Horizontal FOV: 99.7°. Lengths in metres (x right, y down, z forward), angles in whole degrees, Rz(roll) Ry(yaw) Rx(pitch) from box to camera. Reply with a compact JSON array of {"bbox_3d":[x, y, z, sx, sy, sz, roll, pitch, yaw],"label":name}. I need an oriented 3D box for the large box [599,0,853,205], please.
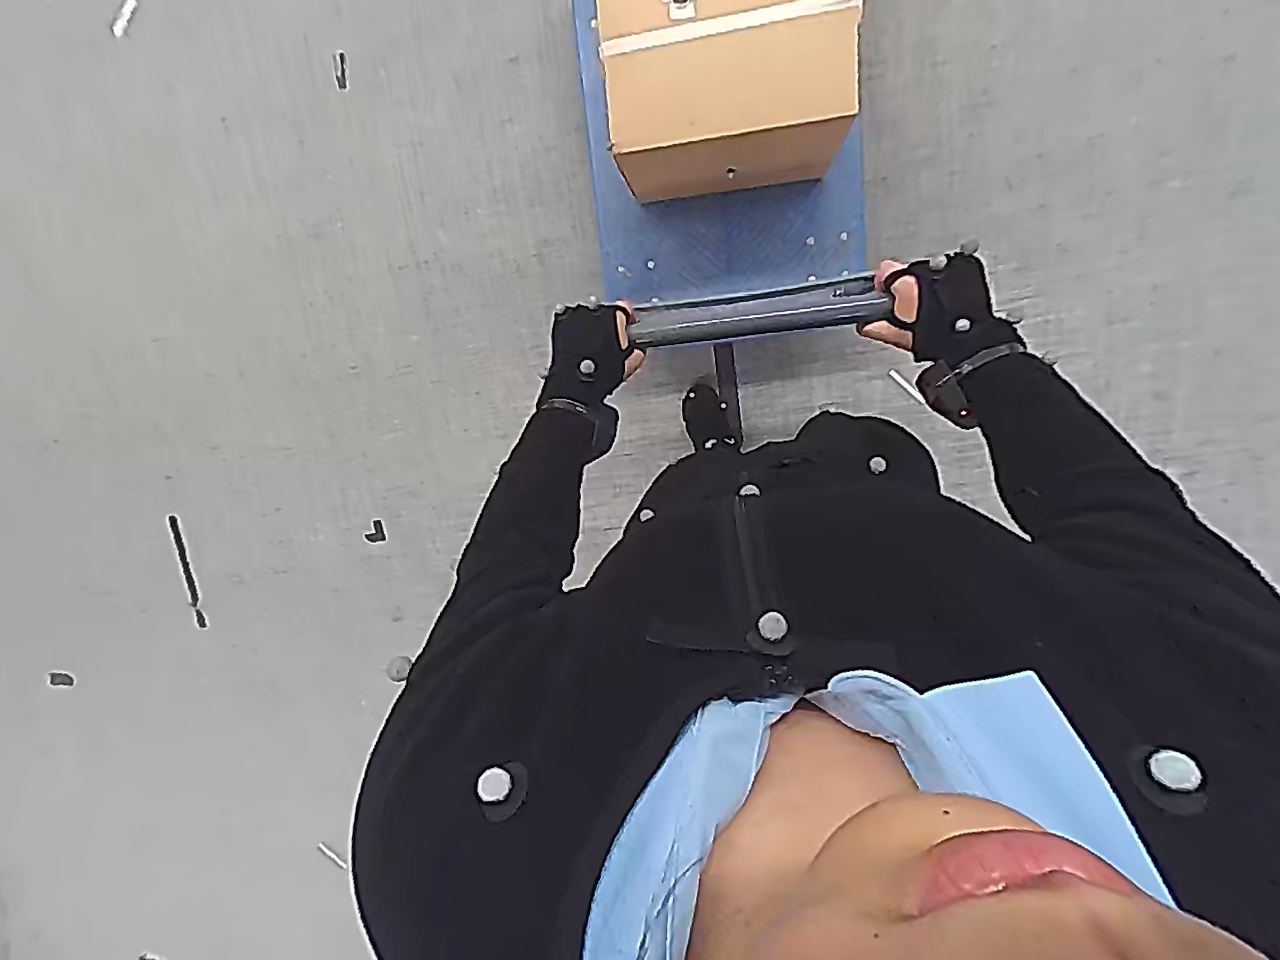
[{"bbox_3d":[0.162,-0.755,1.029,0.408,0.320,0.320,-4,101,10],"label":"large box"}]
